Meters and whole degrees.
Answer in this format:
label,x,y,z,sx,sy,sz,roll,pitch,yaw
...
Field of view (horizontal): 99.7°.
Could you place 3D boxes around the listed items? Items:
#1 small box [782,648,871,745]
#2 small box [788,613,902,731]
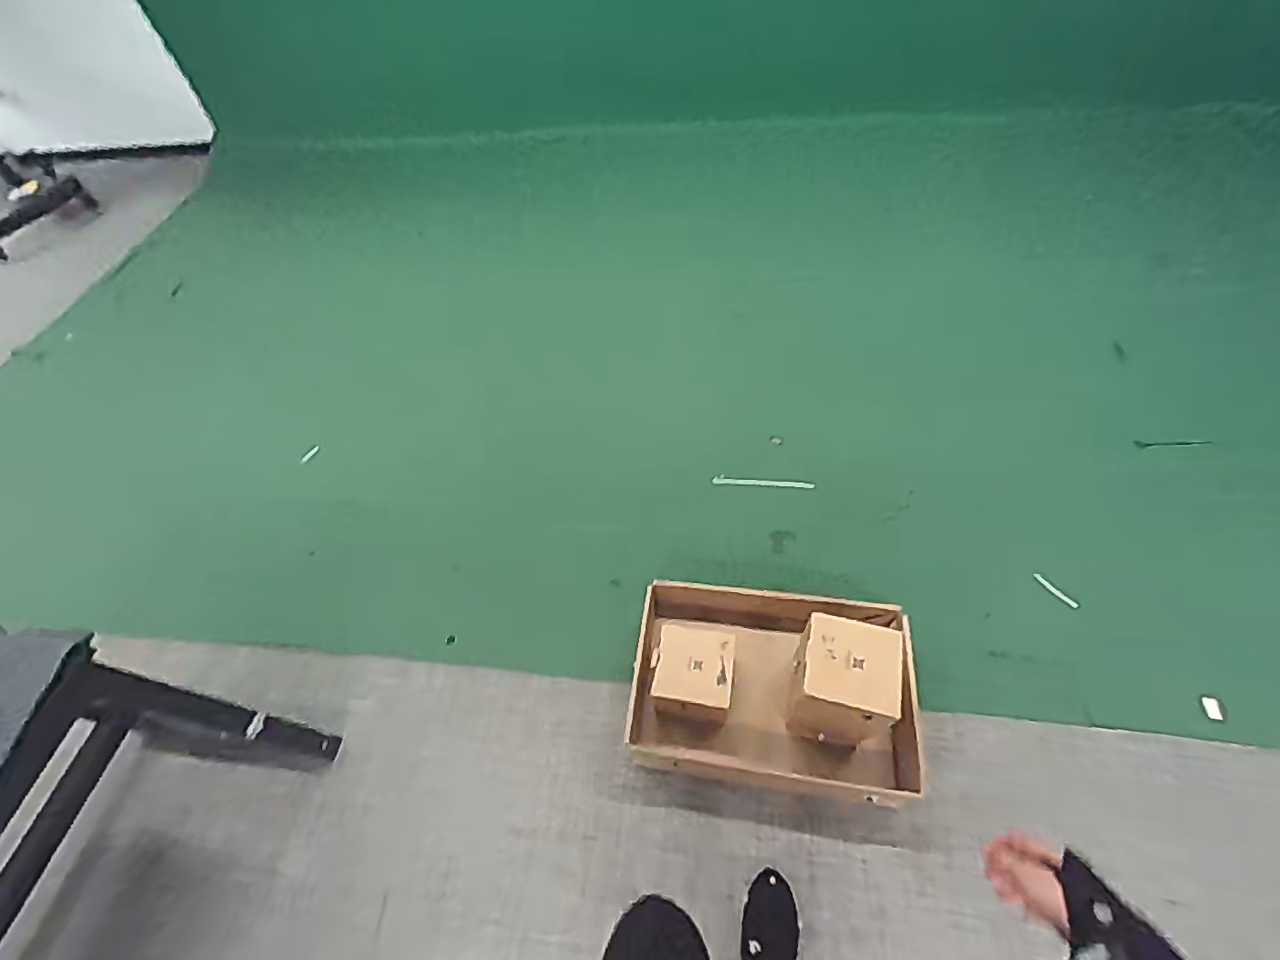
label,x,y,z,sx,sy,sz,roll,pitch,yaw
small box,0.425,0.482,1.233,0.168,0.176,0.179,11,59,13
small box,0.411,0.394,1.095,0.179,0.176,0.168,11,58,14
